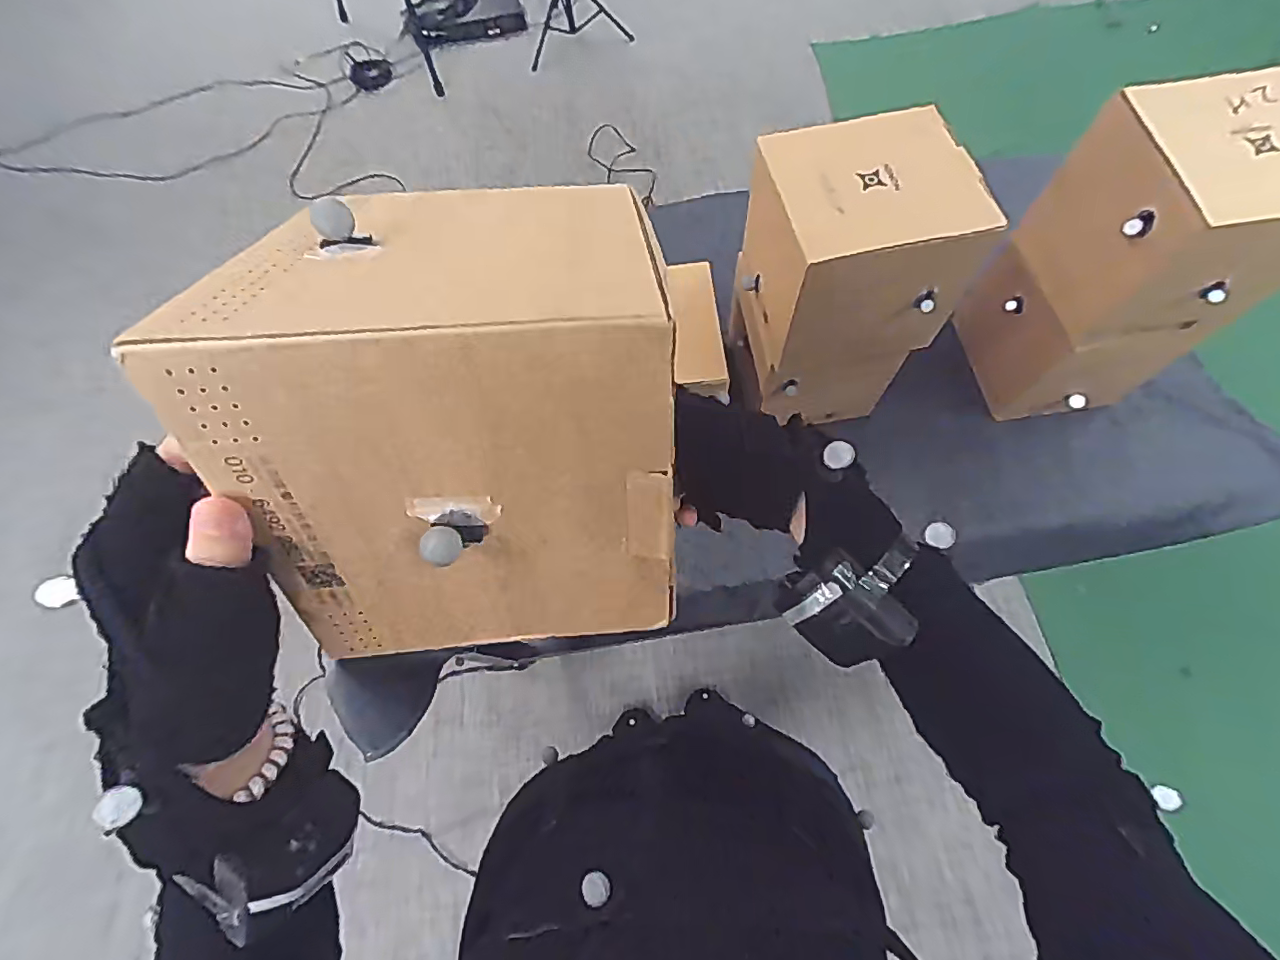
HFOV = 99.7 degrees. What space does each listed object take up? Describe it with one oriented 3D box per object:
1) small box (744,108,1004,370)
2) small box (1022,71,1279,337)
[{"bbox_3d":[0.219,-0.238,0.563,0.179,0.176,0.168,-11,66,0],"label":"small box"},{"bbox_3d":[0.539,-0.262,0.546,0.168,0.176,0.179,-6,67,2],"label":"small box"}]
